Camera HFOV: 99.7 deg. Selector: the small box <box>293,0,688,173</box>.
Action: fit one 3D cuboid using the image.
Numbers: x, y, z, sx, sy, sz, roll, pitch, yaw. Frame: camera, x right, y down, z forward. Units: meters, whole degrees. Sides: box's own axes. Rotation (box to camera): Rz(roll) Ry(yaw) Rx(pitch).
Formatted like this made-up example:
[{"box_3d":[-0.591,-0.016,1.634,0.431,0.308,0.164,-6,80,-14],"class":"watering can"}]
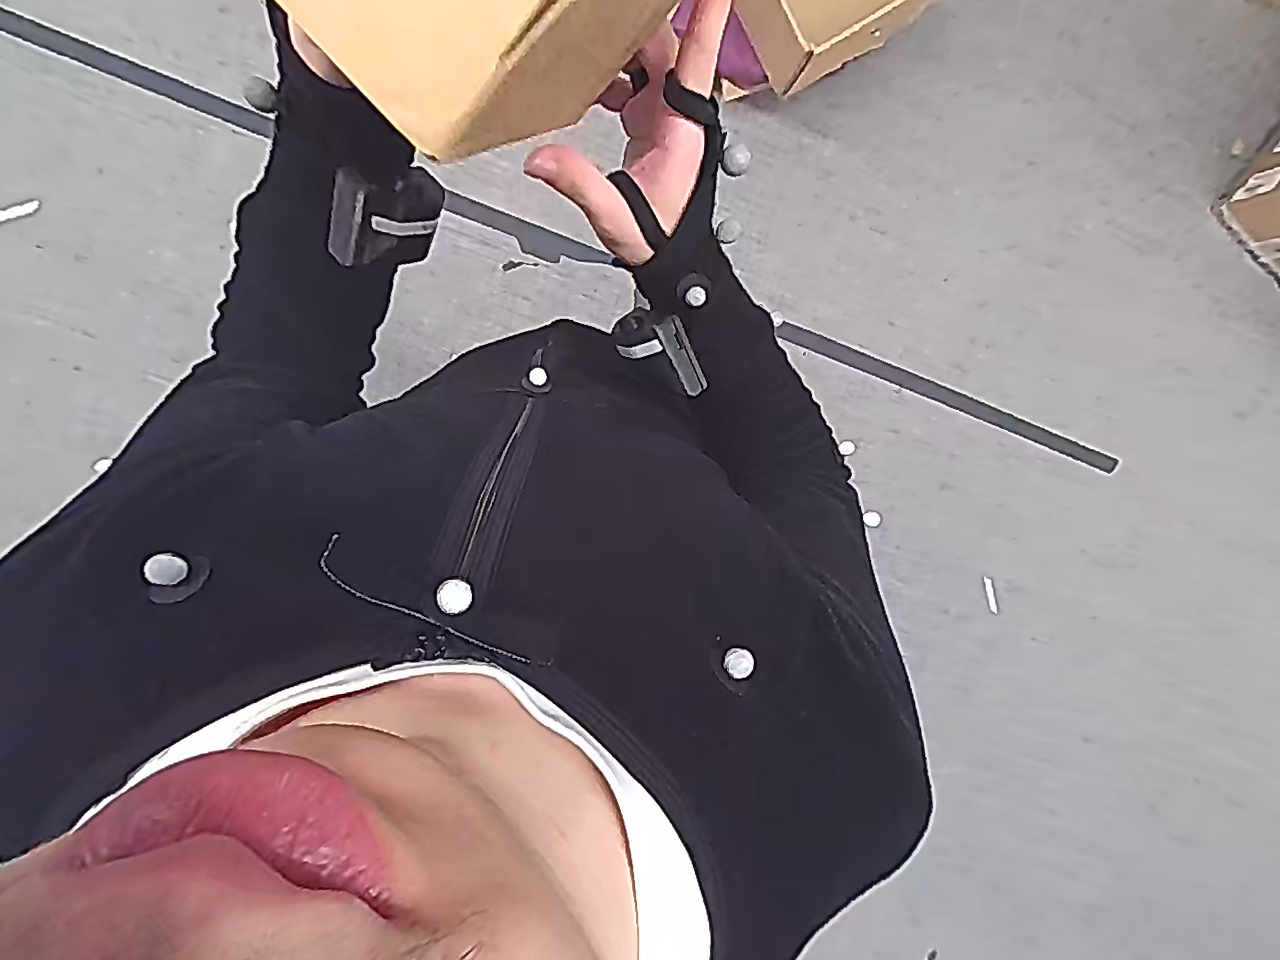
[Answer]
[{"box_3d":[-0.040,-0.231,0.153,0.168,0.176,0.179,-34,114,28],"class":"small box"}]
